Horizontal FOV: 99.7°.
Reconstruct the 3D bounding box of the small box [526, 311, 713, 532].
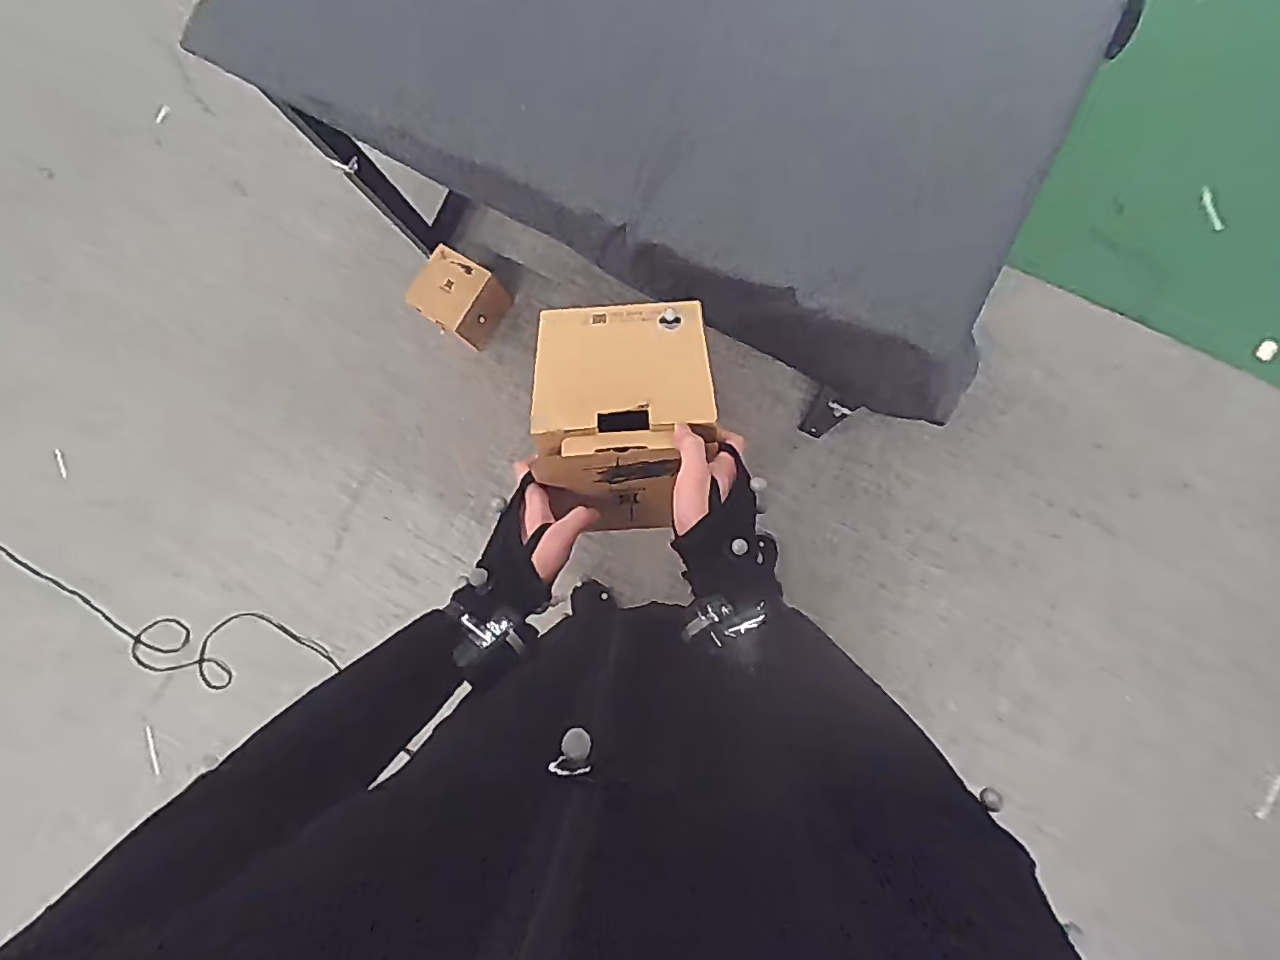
[{"bbox_3d":[-0.018,-0.064,0.576,0.168,0.179,0.176,-3,55,2],"label":"small box"}]
